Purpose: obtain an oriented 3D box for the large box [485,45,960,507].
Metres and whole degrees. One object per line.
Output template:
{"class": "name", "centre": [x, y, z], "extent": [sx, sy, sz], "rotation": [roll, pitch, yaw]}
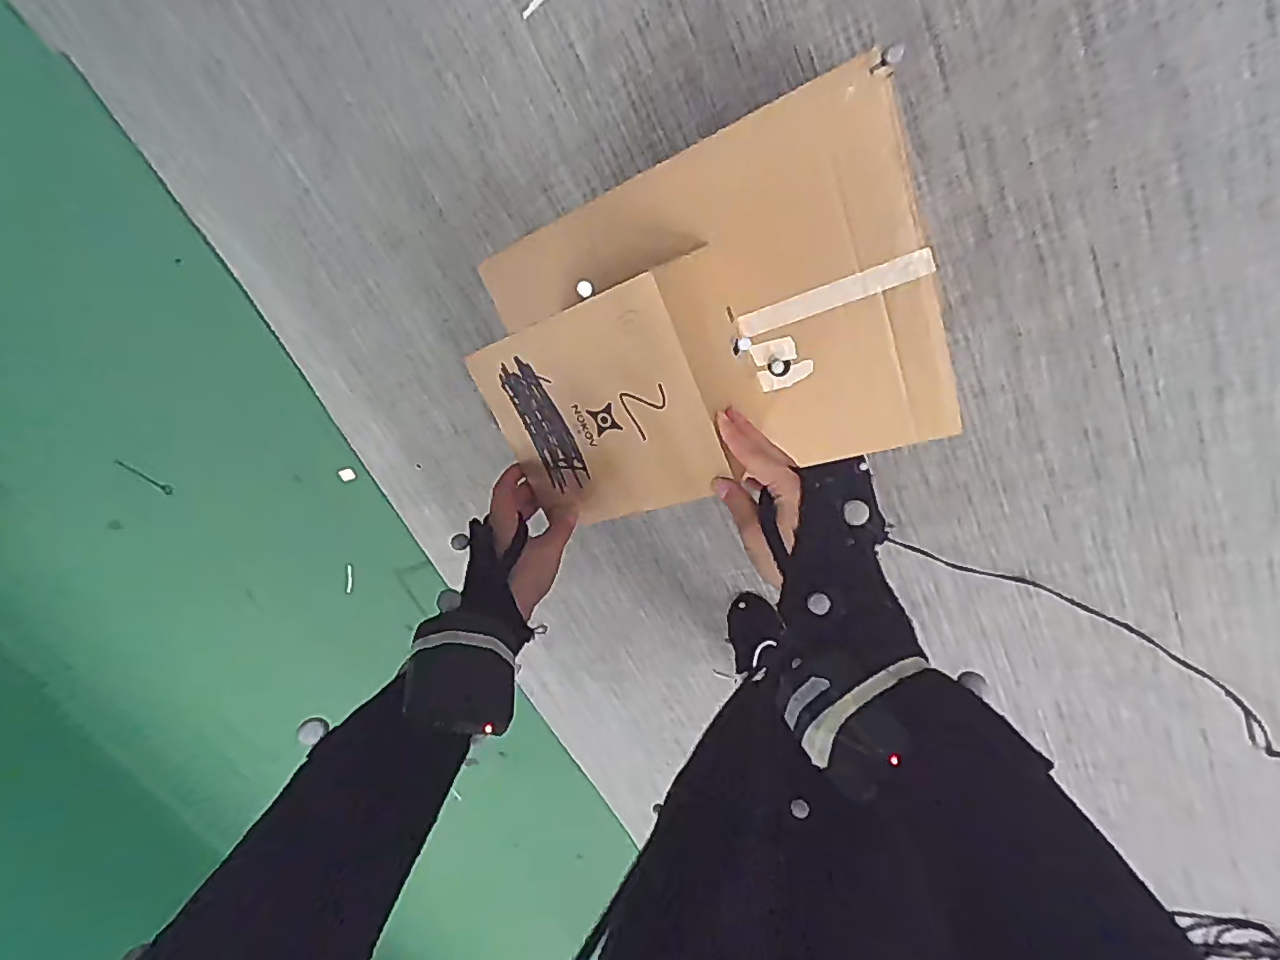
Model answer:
{"class": "large box", "centre": [0.107, -0.208, 0.654], "extent": [0.408, 0.320, 0.320], "rotation": [-14, 112, 27]}
